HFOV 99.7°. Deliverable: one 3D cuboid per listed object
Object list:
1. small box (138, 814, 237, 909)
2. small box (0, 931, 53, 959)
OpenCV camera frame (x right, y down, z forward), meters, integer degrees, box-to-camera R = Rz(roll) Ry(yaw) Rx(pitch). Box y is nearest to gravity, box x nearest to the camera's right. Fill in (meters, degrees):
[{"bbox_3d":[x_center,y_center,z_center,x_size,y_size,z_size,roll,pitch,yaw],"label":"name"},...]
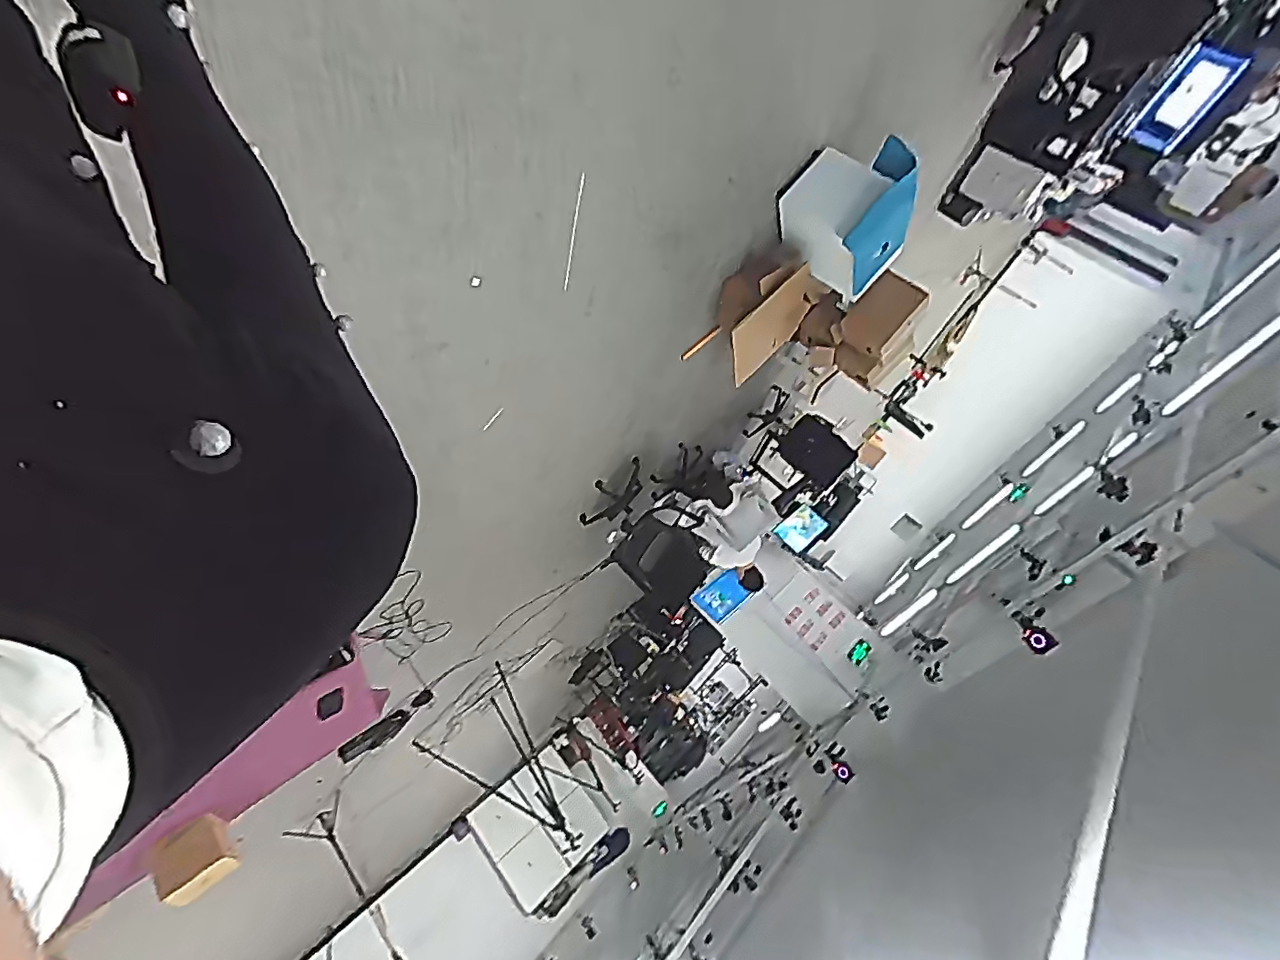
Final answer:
[{"bbox_3d":[-1.392,1.173,1.669,0.168,0.176,0.179,-31,154,-37],"label":"small box"},{"bbox_3d":[-1.671,1.324,1.406,0.168,0.176,0.179,-30,154,-40],"label":"small box"}]
